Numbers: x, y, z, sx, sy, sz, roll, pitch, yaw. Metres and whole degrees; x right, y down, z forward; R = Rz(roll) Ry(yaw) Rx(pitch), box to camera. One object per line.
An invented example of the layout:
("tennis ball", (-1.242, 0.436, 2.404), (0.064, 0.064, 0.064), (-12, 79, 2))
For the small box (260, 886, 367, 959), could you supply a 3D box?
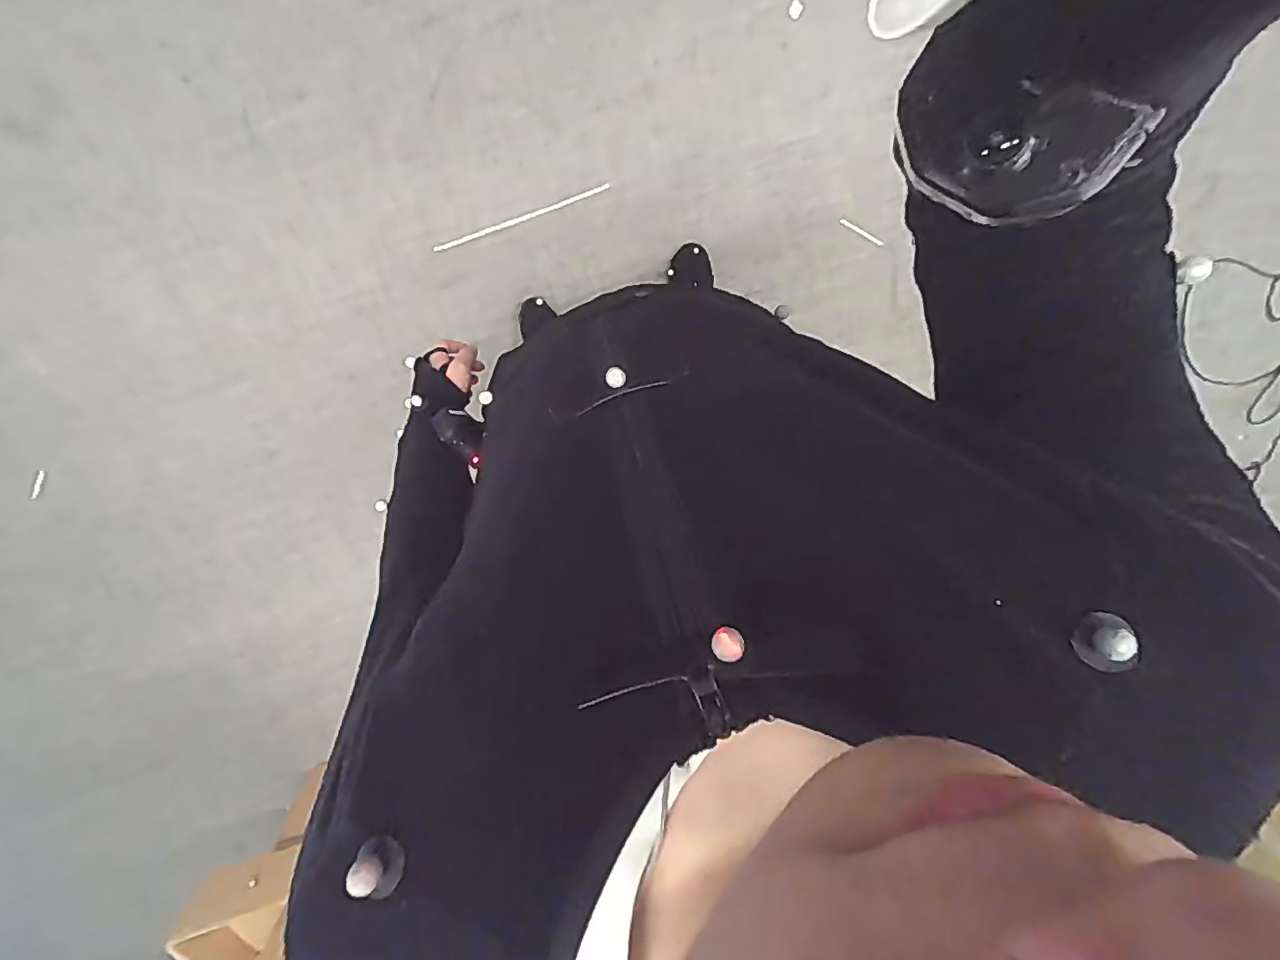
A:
("small box", (-0.922, 1.310, 1.542), (0.168, 0.176, 0.179), (-22, 111, 5))
